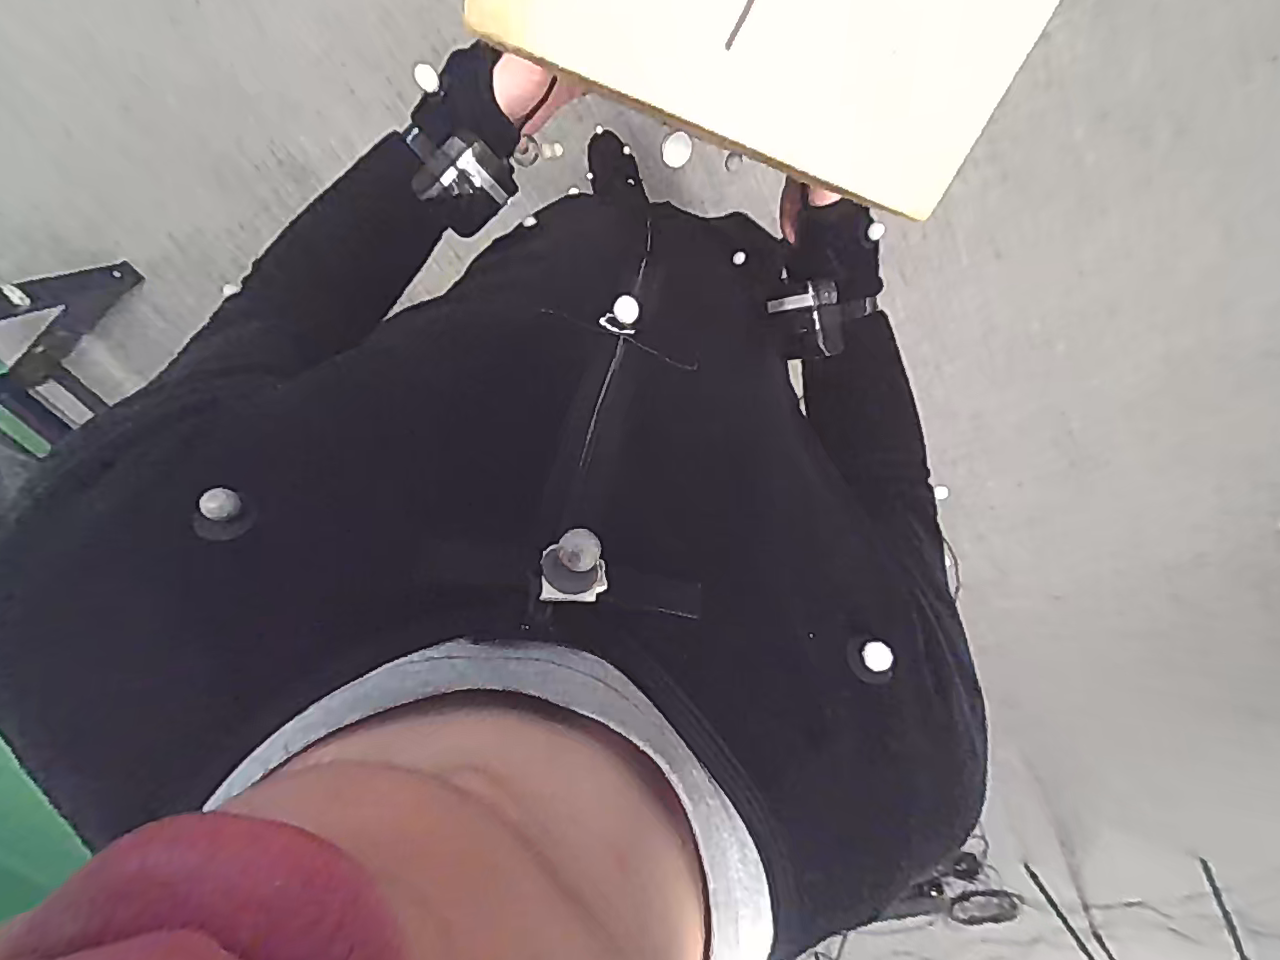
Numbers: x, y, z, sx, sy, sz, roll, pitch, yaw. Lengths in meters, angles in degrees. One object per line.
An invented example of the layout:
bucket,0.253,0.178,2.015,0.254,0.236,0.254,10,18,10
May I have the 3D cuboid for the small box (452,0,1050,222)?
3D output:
small box,0.051,-0.223,0.194,0.168,0.176,0.179,19,123,-7
